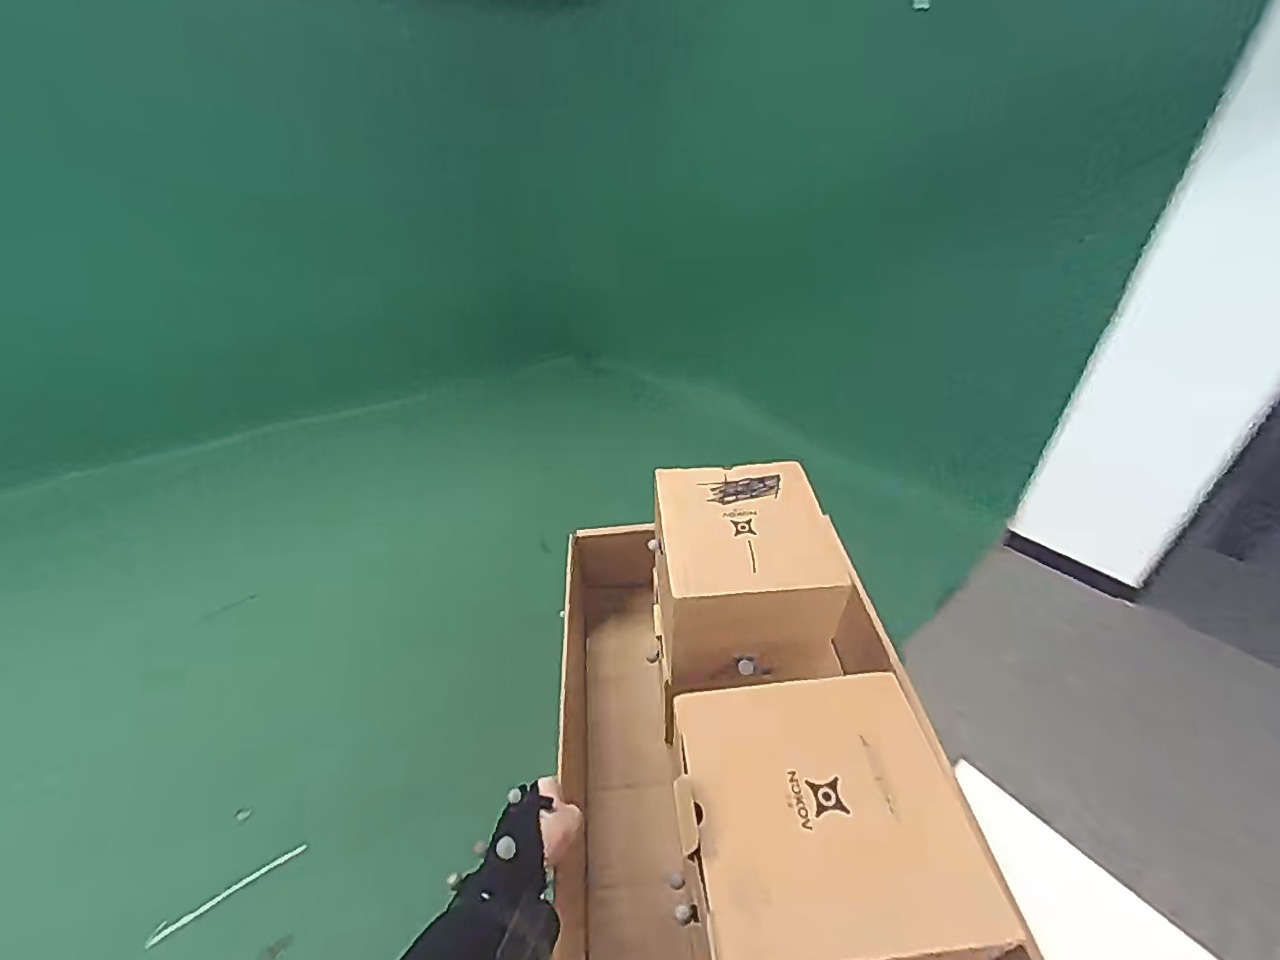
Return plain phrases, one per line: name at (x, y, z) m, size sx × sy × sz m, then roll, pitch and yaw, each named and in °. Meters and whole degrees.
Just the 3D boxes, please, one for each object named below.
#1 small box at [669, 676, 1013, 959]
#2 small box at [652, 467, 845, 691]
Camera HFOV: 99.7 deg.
small box at (0.119, 0.274, 0.407) m, size 0.179 × 0.176 × 0.168 m, roll -5°, pitch 41°, yaw -4°
small box at (0.101, 0.108, 0.598) m, size 0.168 × 0.176 × 0.179 m, roll -5°, pitch 42°, yaw -2°
